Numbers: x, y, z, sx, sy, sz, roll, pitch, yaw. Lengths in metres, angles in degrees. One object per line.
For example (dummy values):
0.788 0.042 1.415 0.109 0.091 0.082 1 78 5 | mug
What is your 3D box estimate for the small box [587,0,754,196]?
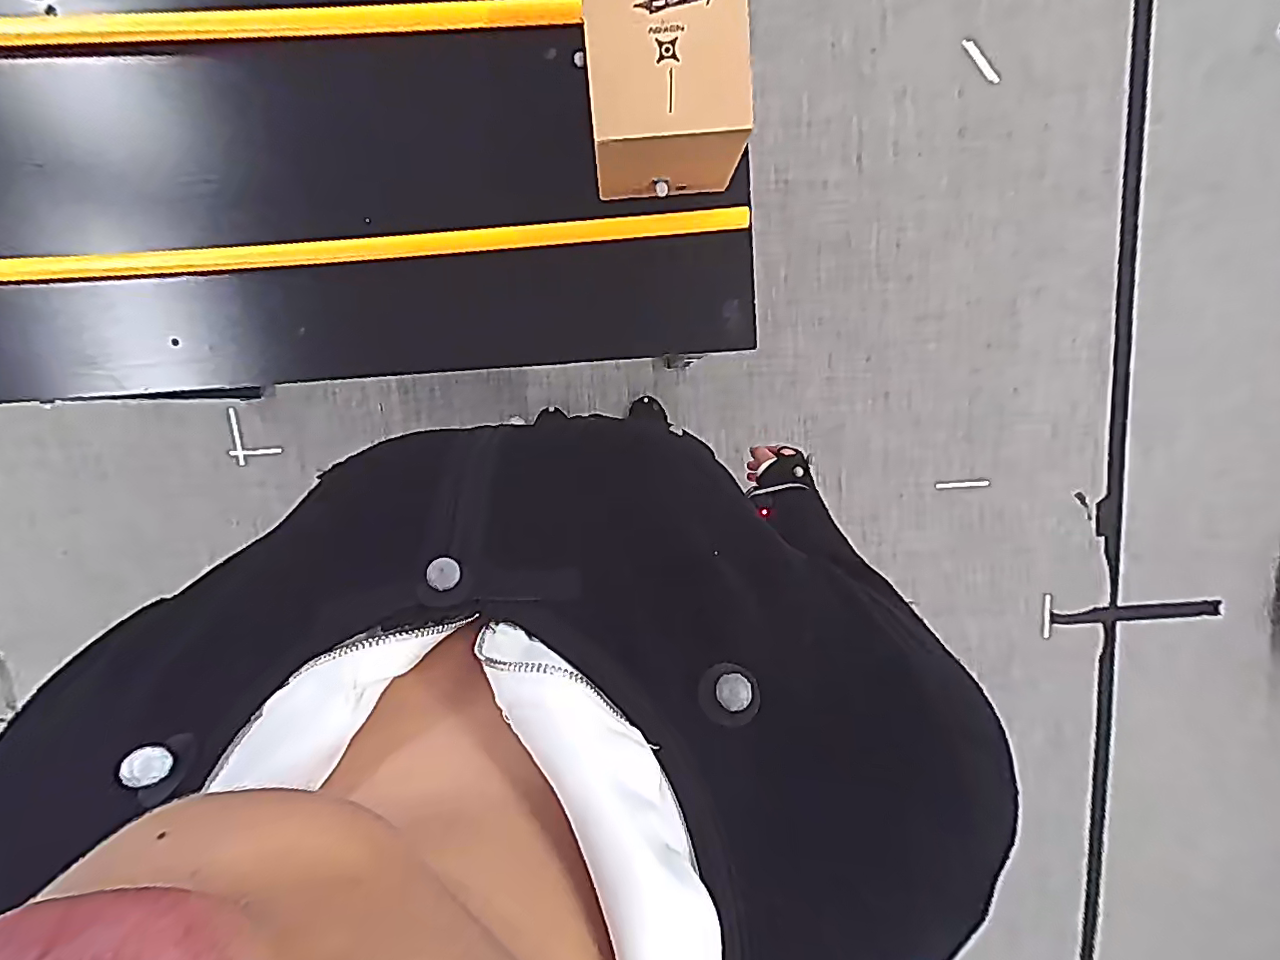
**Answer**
0.027 -0.452 0.619 0.168 0.176 0.179 -5 99 -1 | small box
